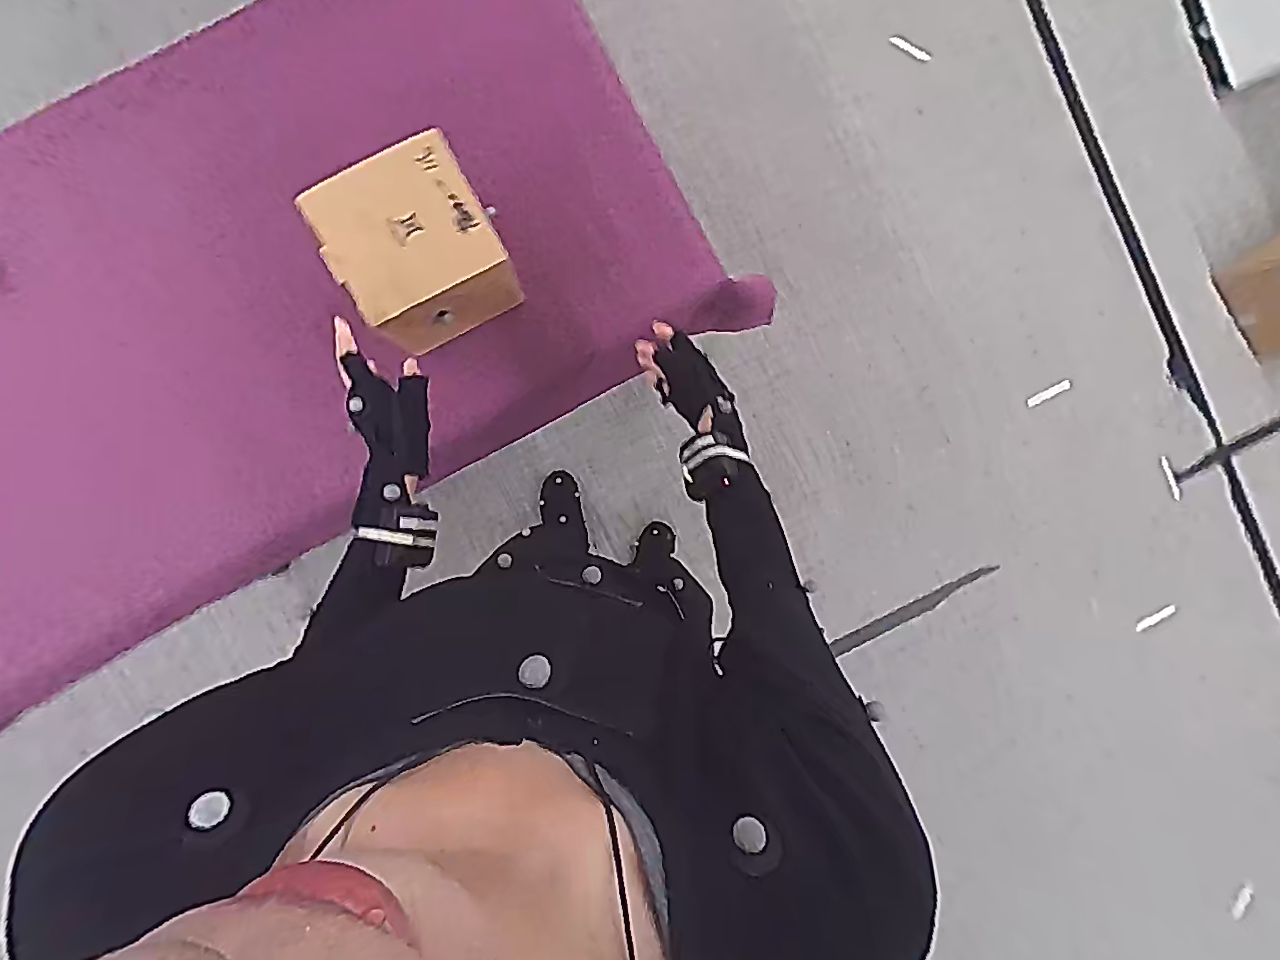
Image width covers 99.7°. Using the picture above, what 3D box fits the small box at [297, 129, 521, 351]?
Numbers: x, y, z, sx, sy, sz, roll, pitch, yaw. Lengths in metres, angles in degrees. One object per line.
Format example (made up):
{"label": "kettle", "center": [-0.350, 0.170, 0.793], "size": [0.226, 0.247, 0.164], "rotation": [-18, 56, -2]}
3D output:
{"label": "small box", "center": [-0.272, -0.284, 0.684], "size": [0.179, 0.176, 0.168], "rotation": [-30, 94, -3]}
